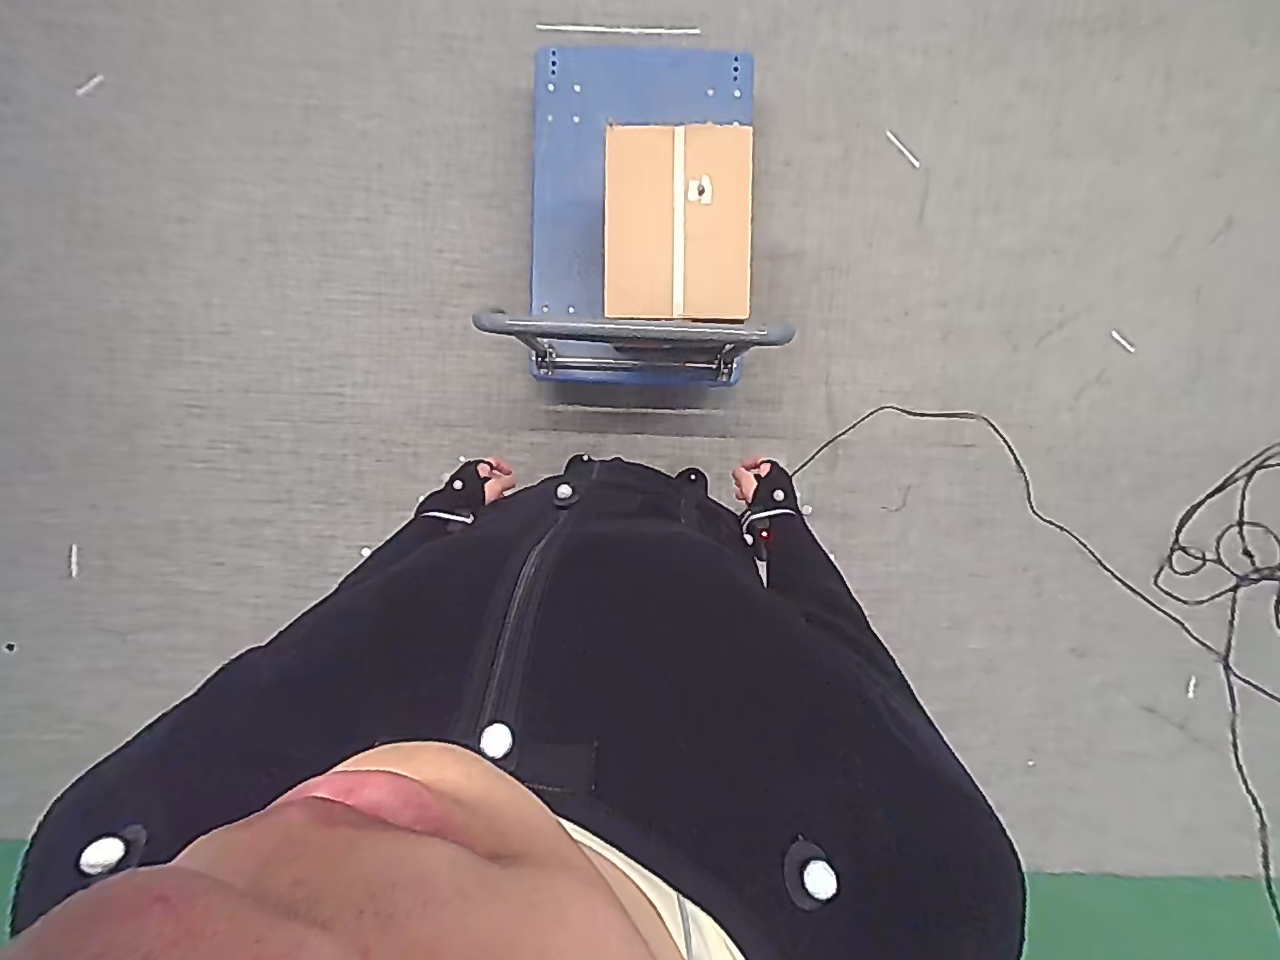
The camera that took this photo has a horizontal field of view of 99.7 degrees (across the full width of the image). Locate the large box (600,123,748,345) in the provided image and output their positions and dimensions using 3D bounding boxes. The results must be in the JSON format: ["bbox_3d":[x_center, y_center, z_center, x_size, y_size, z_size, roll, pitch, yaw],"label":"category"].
[{"bbox_3d":[0.073,-0.552,1.289,0.320,0.320,0.408,1,92,-1],"label":"large box"}]
